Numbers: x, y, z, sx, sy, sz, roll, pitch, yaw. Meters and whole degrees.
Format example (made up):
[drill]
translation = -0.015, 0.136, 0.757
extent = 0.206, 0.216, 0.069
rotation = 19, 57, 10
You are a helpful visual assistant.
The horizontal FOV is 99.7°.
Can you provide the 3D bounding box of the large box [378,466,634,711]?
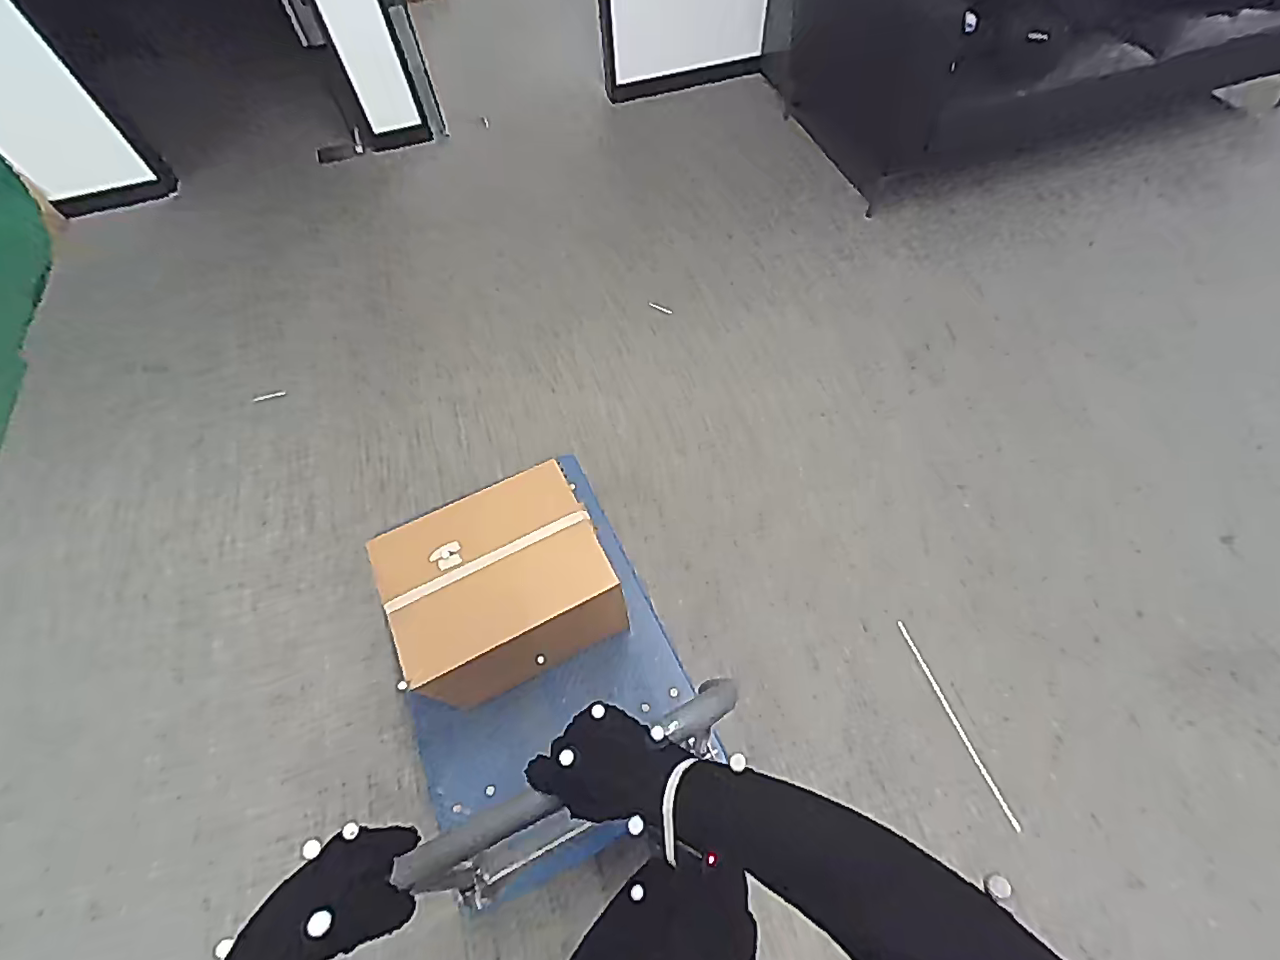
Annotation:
[large box]
translation = -0.263, 0.239, 1.161
extent = 0.408, 0.320, 0.320
rotation = -26, 62, -11
